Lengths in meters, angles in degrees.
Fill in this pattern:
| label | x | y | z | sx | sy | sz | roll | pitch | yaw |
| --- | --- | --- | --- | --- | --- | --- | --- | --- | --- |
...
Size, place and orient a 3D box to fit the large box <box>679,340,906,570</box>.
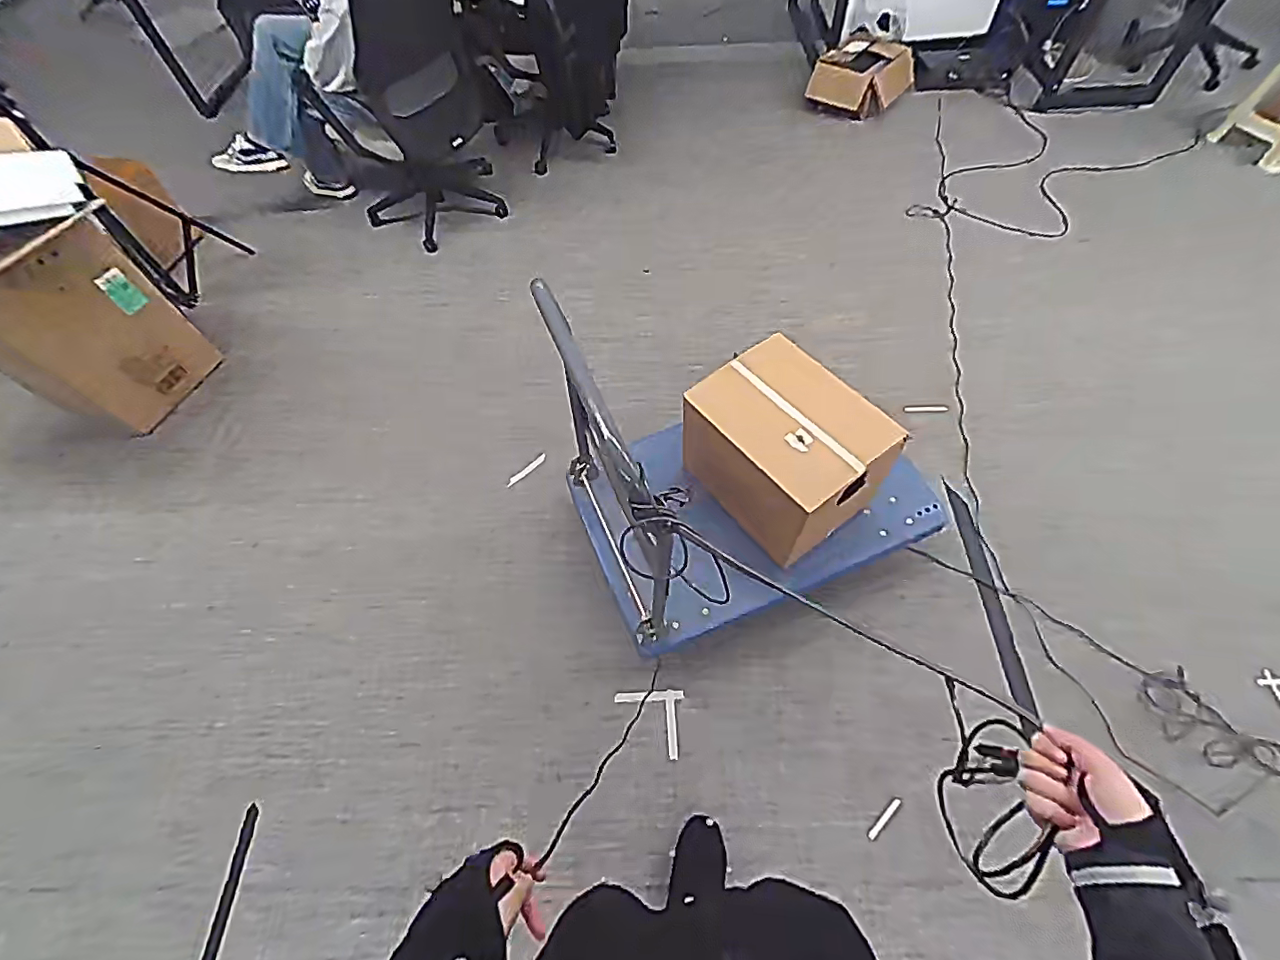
| label | x | y | z | sx | sy | sz | roll | pitch | yaw |
| --- | --- | --- | --- | --- | --- | --- | --- | --- | --- |
| large box | 0.341 | -0.061 | 1.335 | 0.320 | 0.320 | 0.408 | -35 | 63 | -16 |
